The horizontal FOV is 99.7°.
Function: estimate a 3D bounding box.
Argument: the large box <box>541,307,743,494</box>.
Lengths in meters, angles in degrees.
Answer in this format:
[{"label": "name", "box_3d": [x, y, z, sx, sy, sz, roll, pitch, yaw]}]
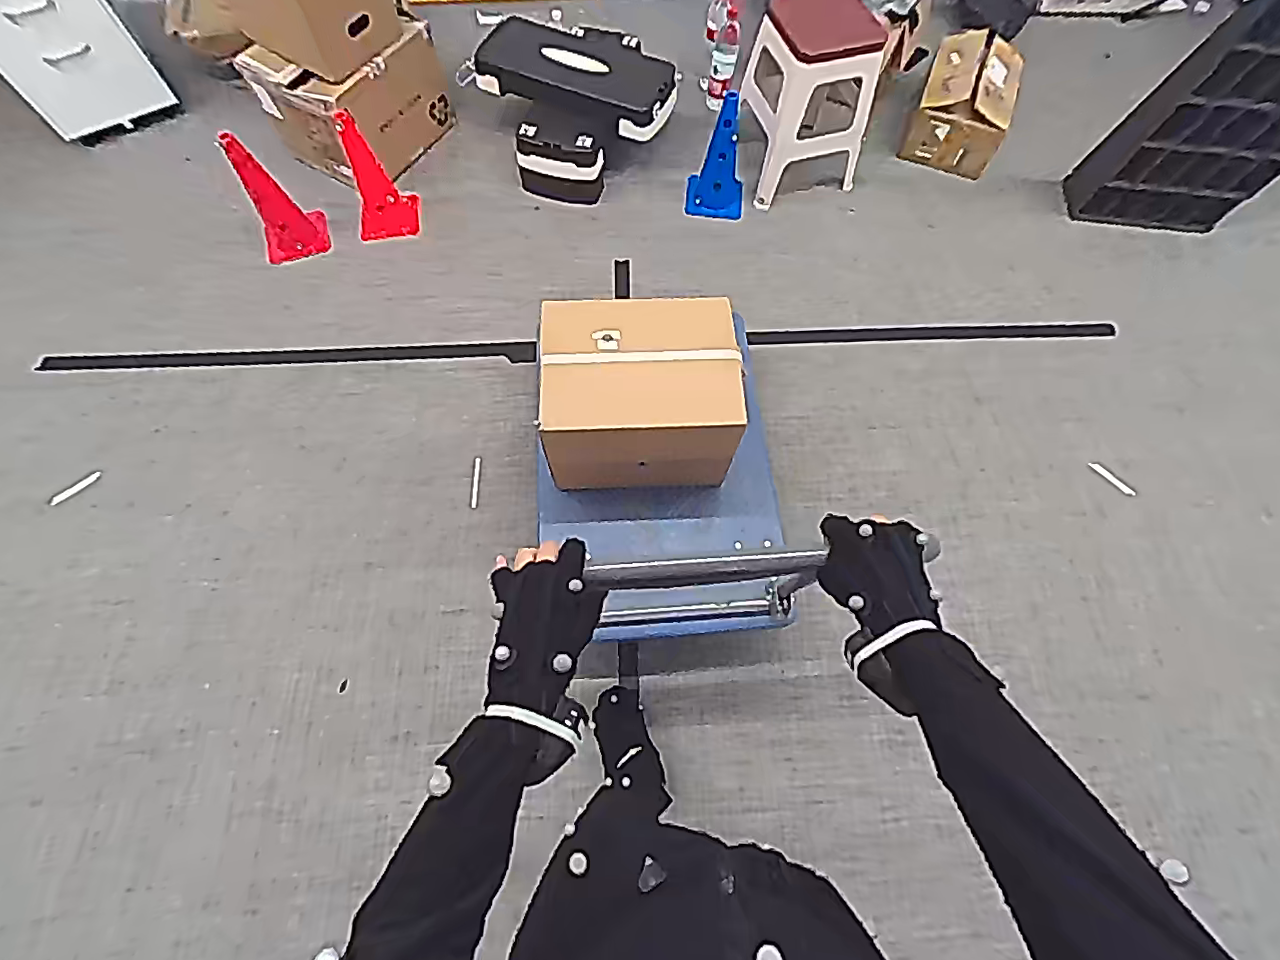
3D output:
[{"label": "large box", "box_3d": [-0.003, -0.168, 1.248, 0.408, 0.320, 0.320, -3, 67, -1]}]
